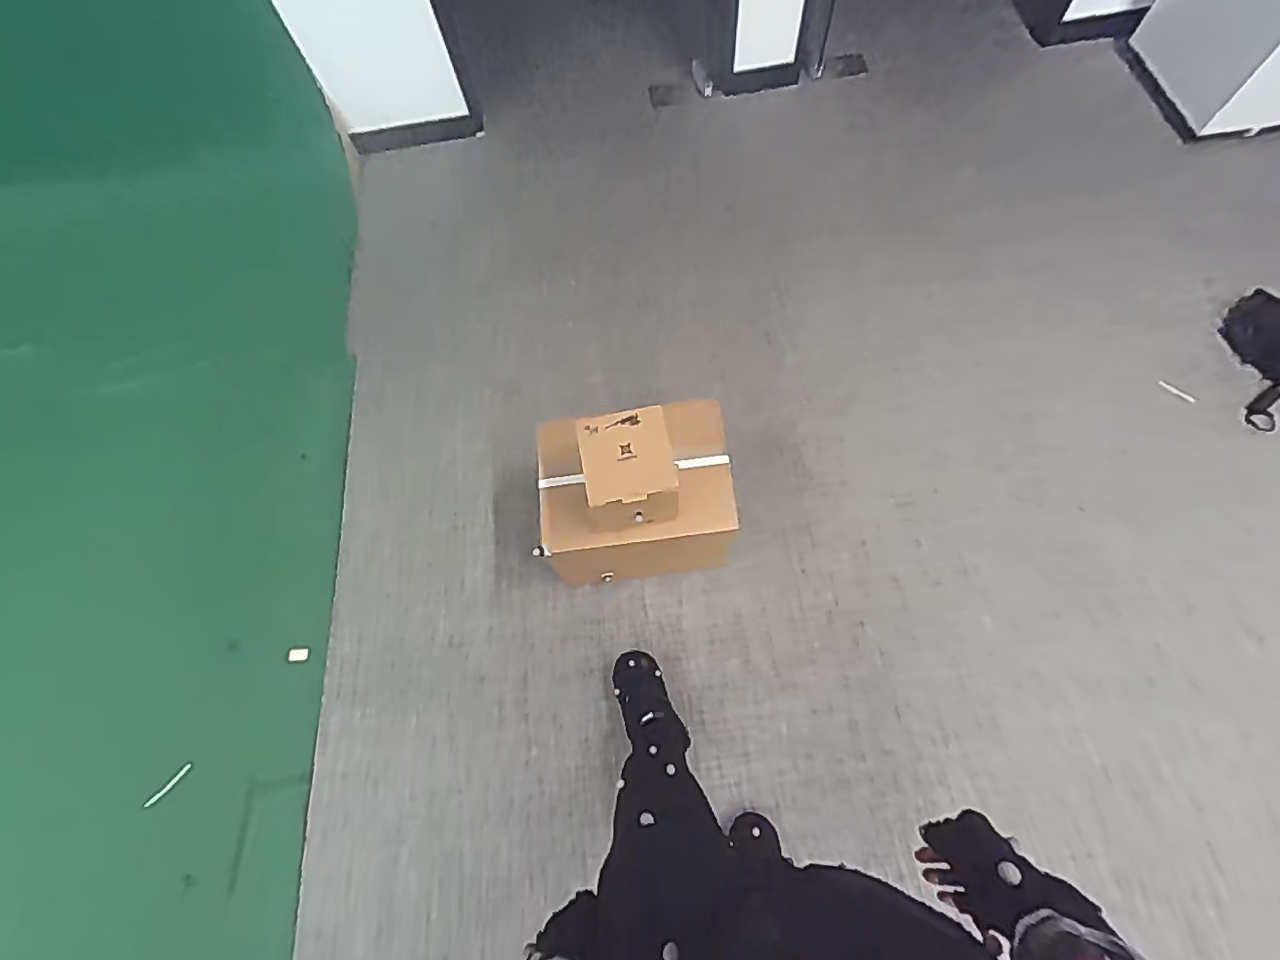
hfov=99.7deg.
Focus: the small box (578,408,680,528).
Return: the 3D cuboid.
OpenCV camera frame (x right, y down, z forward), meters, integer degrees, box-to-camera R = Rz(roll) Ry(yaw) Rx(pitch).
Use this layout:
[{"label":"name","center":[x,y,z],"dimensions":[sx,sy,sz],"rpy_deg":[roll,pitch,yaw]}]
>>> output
[{"label":"small box","center":[-0.017,-0.014,1.052],"dimensions":[0.168,0.176,0.179],"rpy_deg":[-11,68,0]}]
